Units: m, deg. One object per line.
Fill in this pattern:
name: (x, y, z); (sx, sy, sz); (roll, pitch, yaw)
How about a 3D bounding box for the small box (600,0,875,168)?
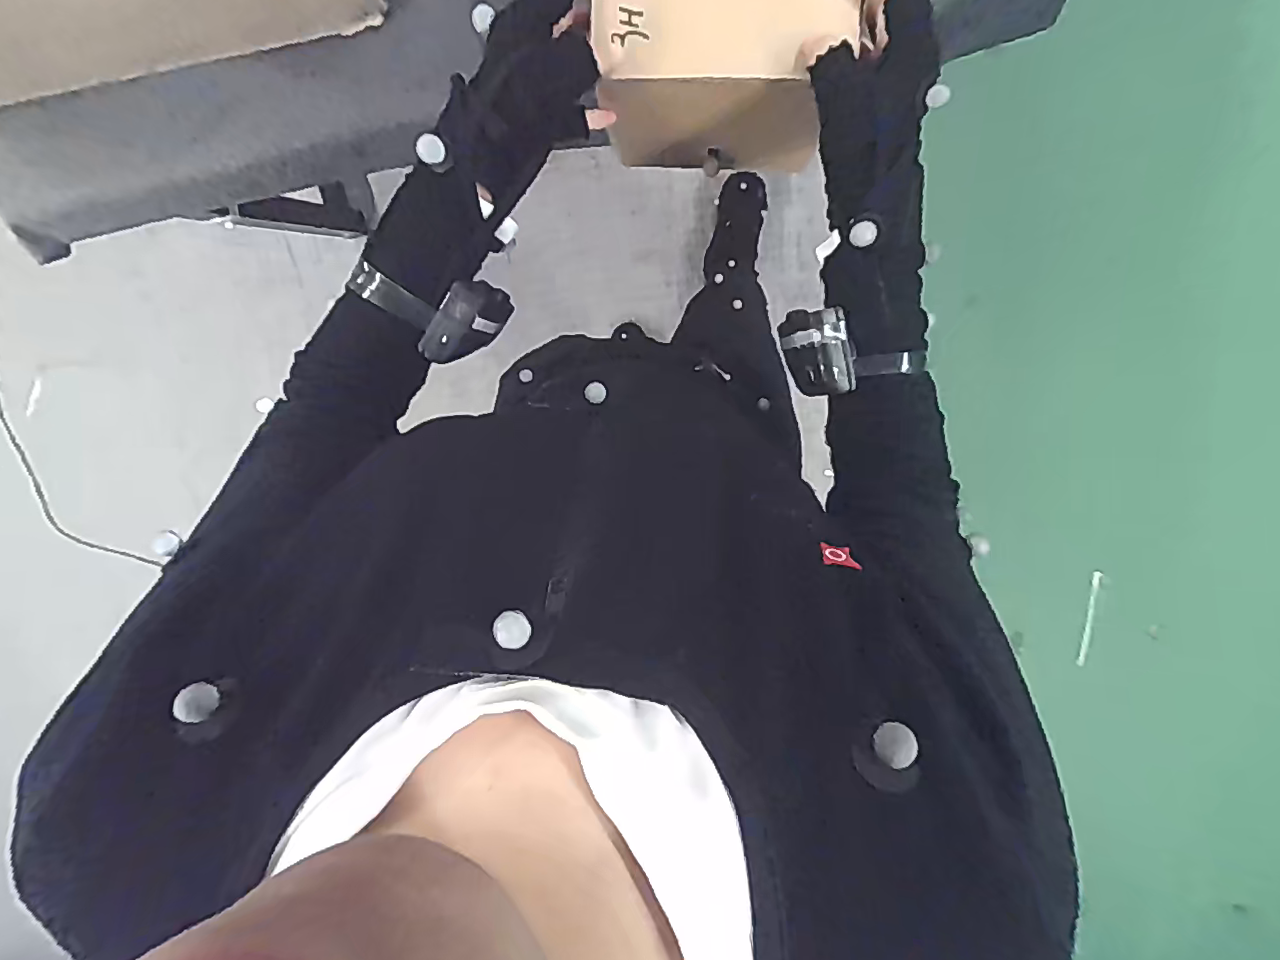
small box: (0.070, -0.359, 0.417); (0.179, 0.176, 0.168); (4, 102, 4)
